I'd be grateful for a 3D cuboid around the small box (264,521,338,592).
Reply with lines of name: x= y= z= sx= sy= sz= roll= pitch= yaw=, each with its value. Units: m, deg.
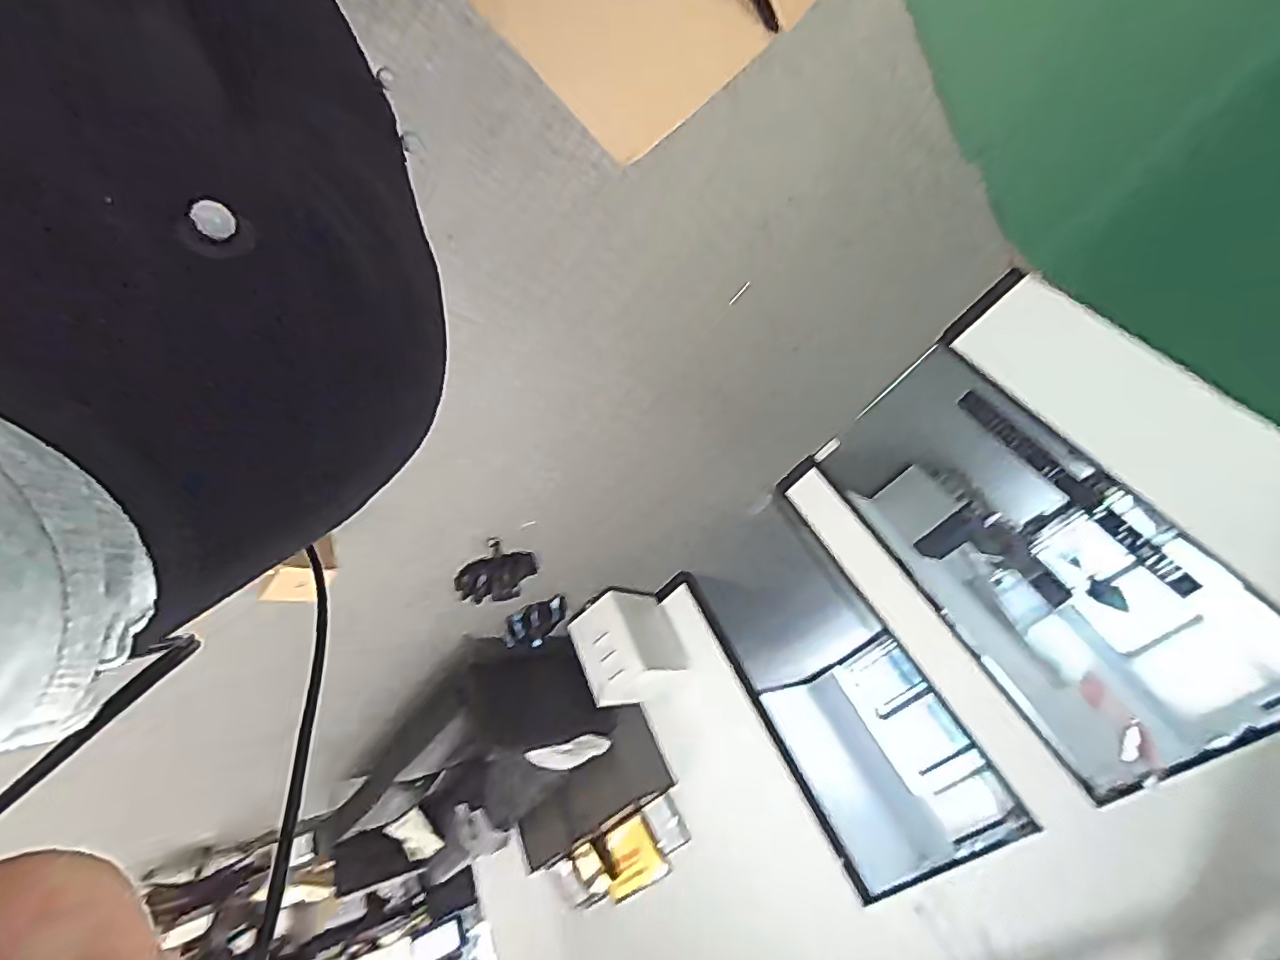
small box: x=-1.147 y=0.257 z=1.820 sx=0.179 sy=0.176 sz=0.168 roll=-44 pitch=144 yaw=25
